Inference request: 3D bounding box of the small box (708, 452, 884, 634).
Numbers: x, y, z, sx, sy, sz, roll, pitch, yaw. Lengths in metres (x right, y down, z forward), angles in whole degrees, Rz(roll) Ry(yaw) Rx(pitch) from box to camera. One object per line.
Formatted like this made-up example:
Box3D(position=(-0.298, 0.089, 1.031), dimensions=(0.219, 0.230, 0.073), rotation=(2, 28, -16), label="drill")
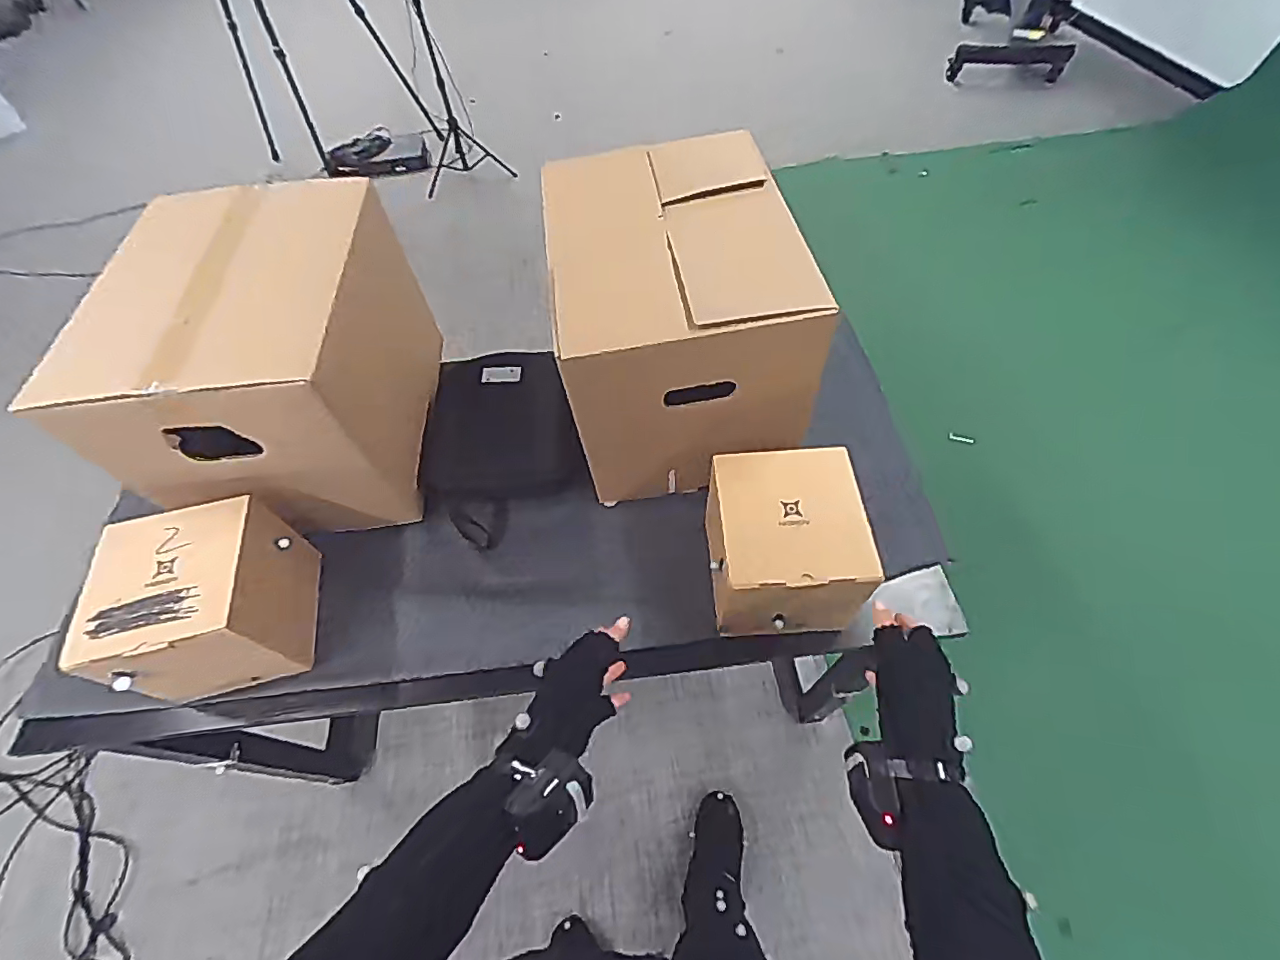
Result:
Box3D(position=(0.180, 0.084, 0.687), dimensions=(0.168, 0.176, 0.179), rotation=(-3, 58, 1), label="small box")
